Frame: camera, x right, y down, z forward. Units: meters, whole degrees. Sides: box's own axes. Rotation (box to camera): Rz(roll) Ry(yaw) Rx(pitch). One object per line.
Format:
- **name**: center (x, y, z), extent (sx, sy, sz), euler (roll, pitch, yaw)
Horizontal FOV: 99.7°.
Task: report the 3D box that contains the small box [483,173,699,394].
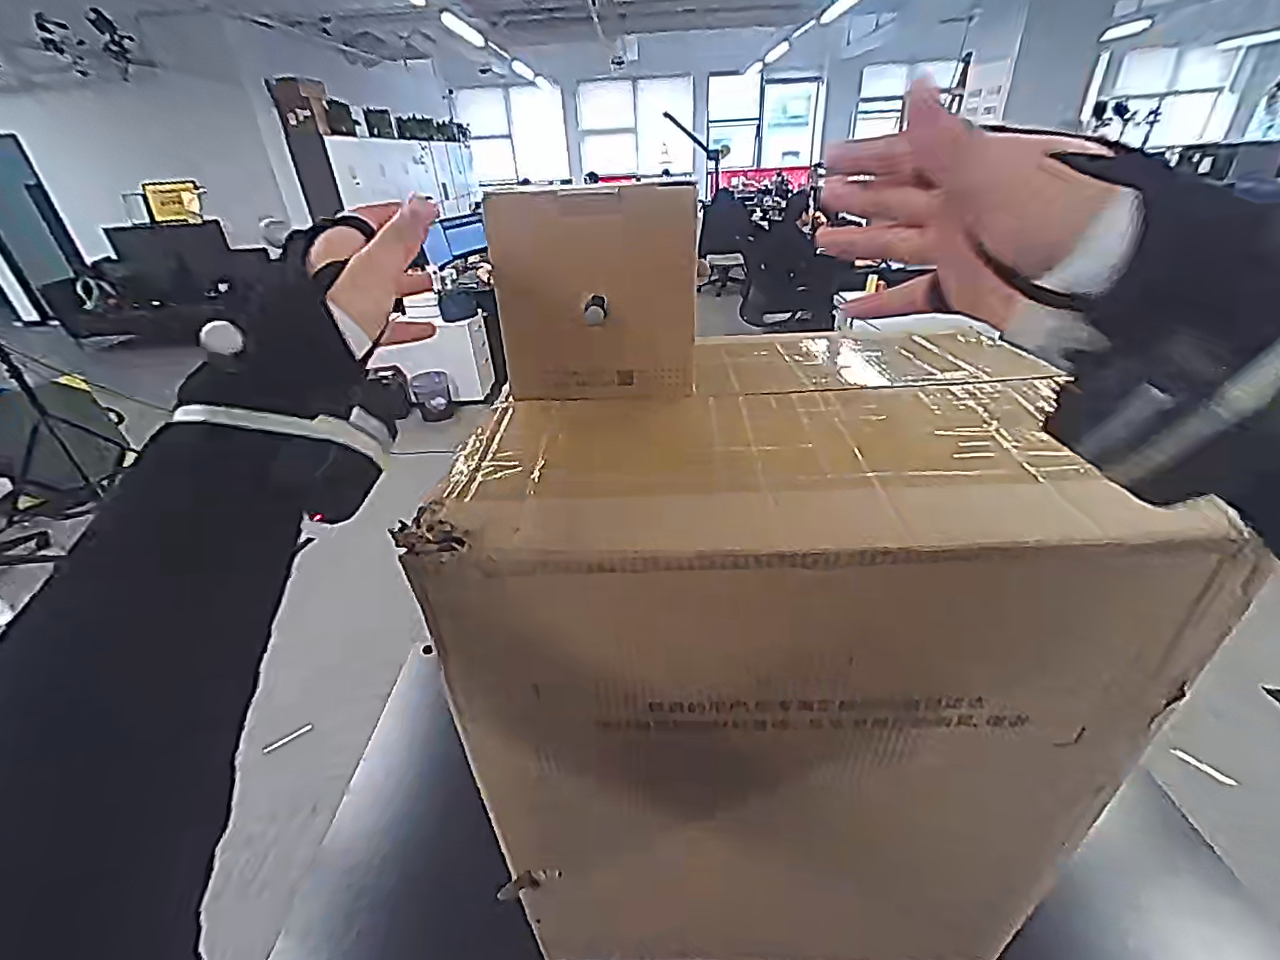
- **small box**: center (-0.030, -0.186, 0.508), extent (0.168, 0.176, 0.179), euler (0, 30, 3)
